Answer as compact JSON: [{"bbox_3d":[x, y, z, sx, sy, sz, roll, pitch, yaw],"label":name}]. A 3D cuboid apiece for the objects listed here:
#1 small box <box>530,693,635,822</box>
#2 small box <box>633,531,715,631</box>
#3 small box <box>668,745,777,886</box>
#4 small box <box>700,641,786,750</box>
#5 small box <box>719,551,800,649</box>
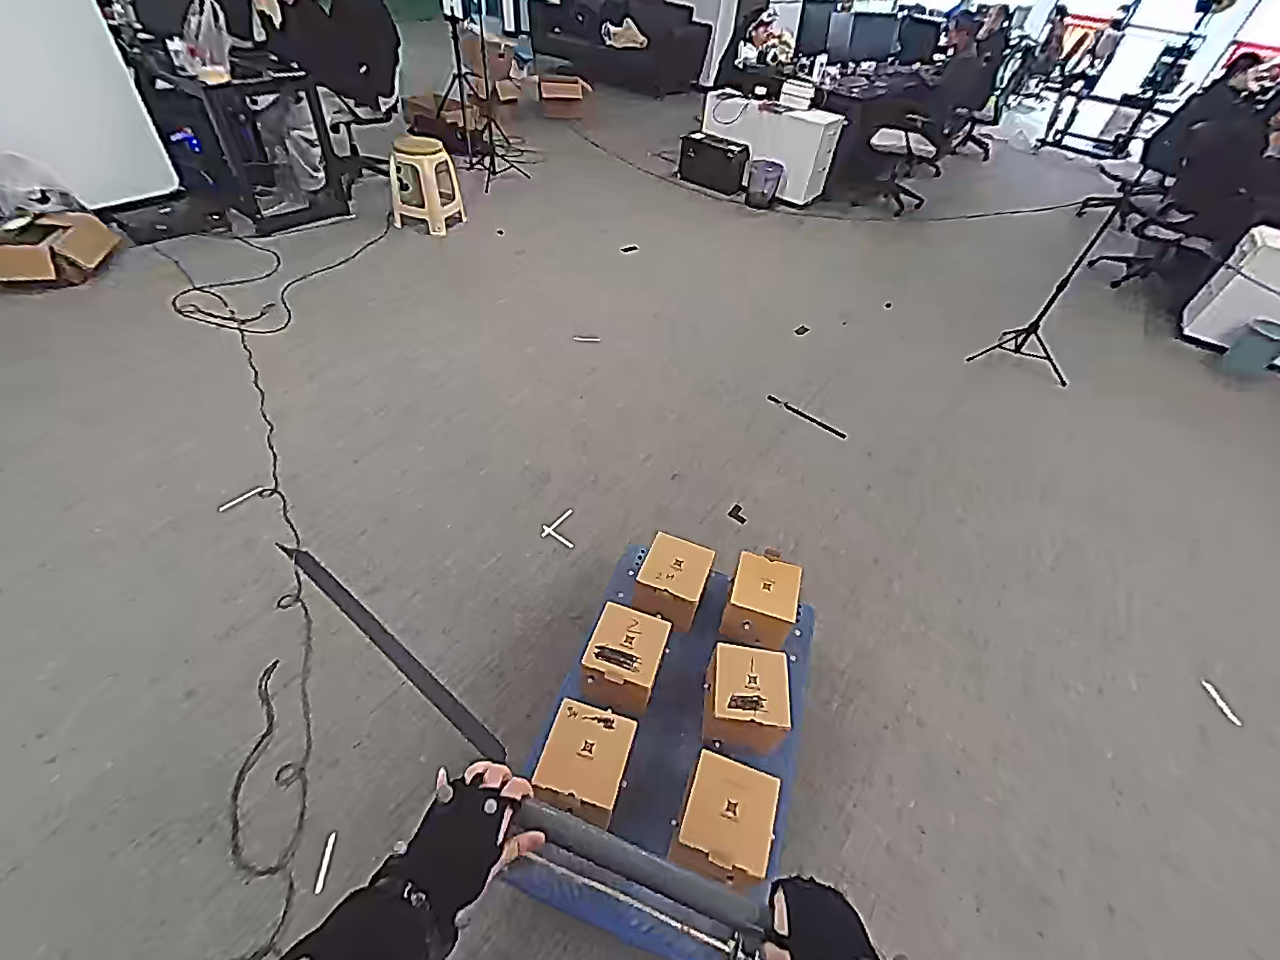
[{"bbox_3d":[-0.118,0.590,1.142,0.168,0.176,0.179,17,47,7],"label":"small box"},{"bbox_3d":[0.088,0.276,1.470,0.168,0.176,0.179,20,48,11],"label":"small box"},{"bbox_3d":[0.162,0.682,1.094,0.168,0.176,0.179,19,46,11],"label":"small box"},{"bbox_3d":[0.239,0.508,1.269,0.168,0.176,0.179,10,45,2],"label":"small box"},{"bbox_3d":[0.318,0.326,1.456,0.168,0.176,0.179,16,46,8],"label":"small box"}]
